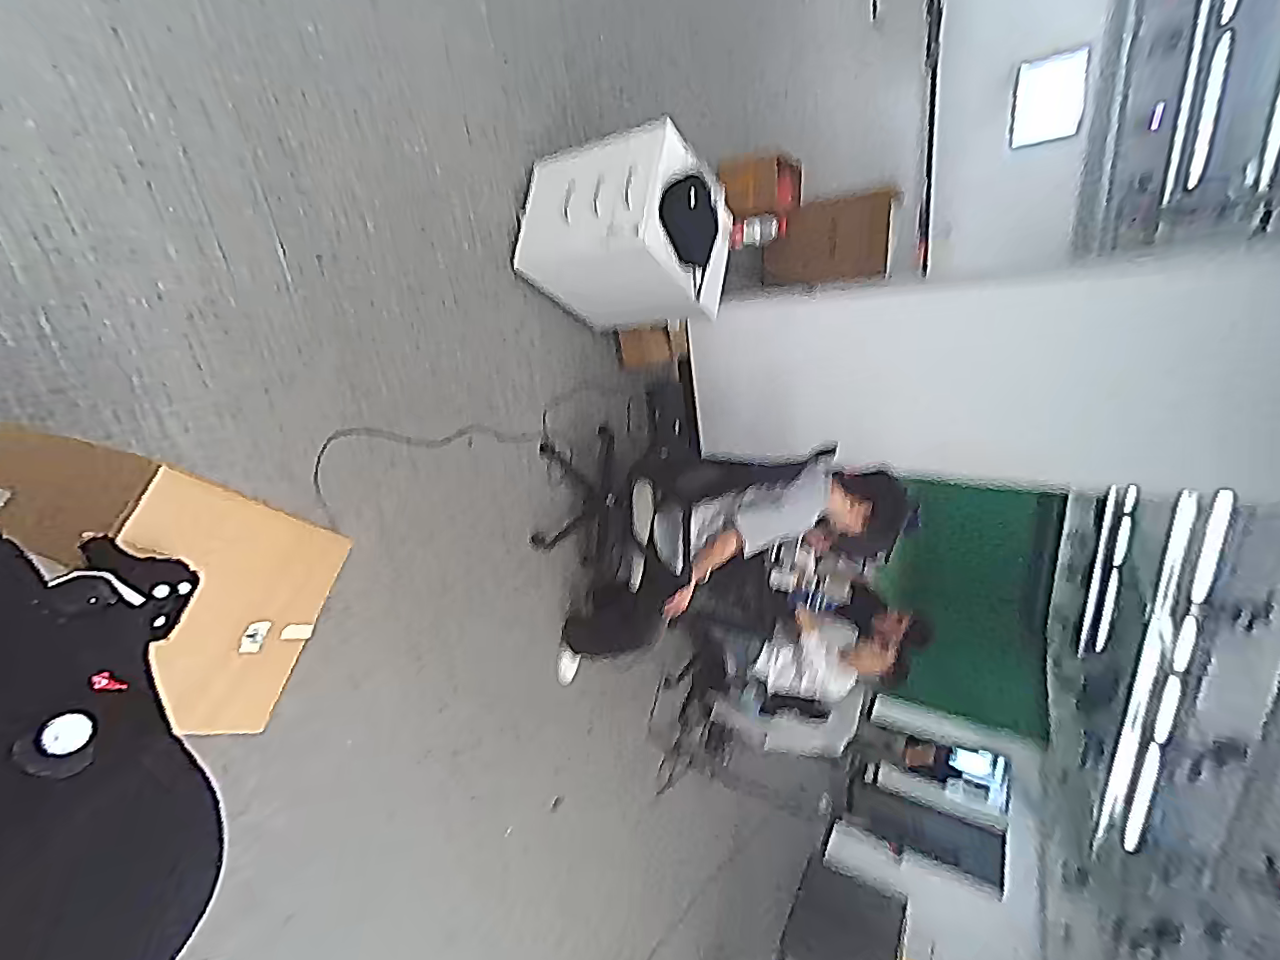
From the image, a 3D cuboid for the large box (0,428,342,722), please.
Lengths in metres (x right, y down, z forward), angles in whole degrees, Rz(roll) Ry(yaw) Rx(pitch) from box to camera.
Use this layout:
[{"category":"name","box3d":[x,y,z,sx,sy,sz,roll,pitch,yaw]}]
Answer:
[{"category":"large box","box3d":[-0.756,0.142,0.808,0.320,0.408,0.320,53,50,-62]}]
